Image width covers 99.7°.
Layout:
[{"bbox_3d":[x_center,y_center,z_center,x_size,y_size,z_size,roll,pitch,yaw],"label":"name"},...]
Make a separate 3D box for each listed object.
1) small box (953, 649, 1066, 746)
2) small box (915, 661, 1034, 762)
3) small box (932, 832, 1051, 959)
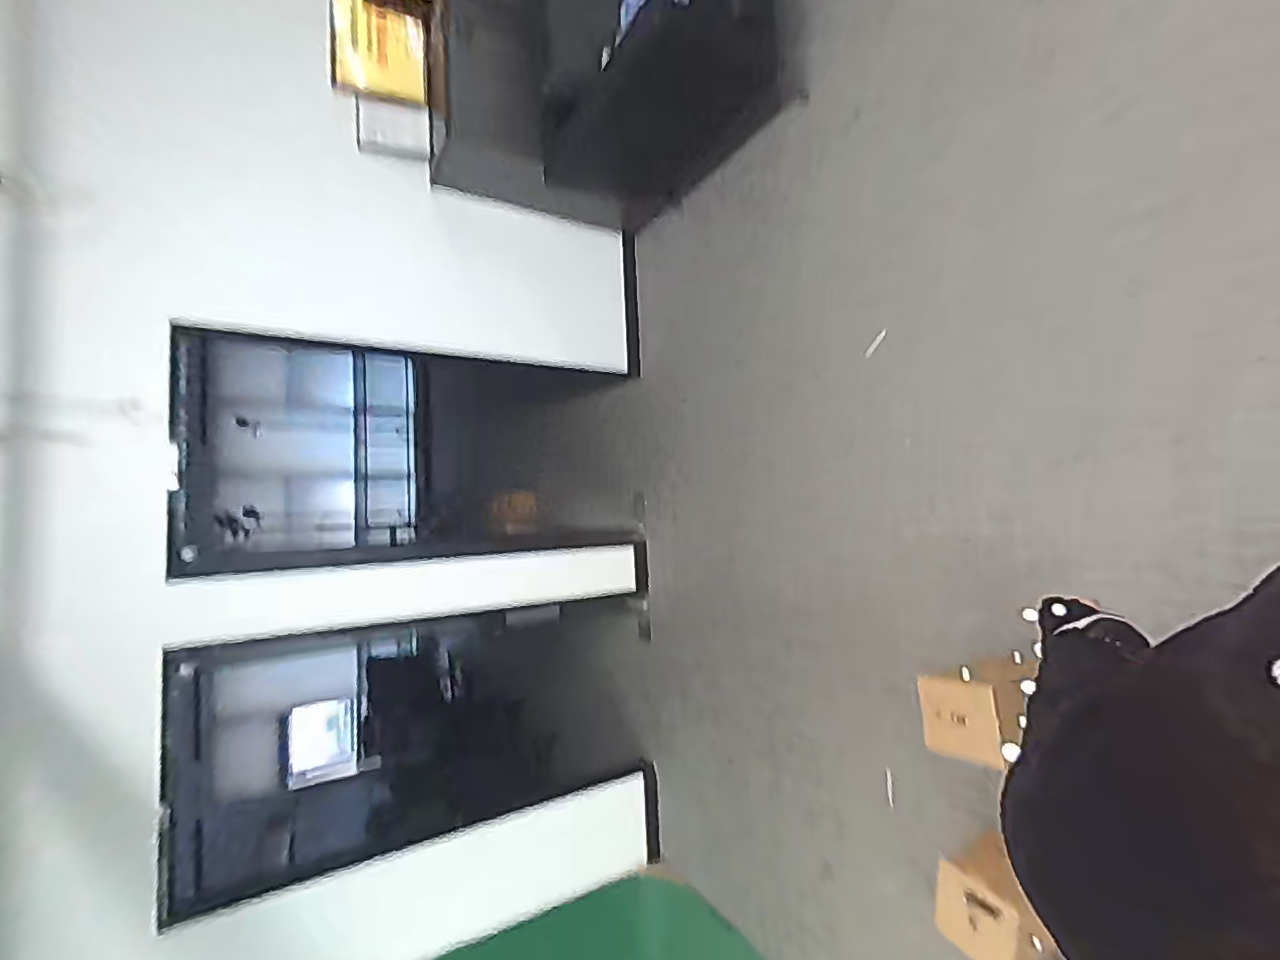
[{"bbox_3d":[0.916,0.529,1.338,0.168,0.176,0.179,-18,74,58],"label":"small box"},{"bbox_3d":[0.776,0.524,1.250,0.179,0.176,0.168,-17,74,58],"label":"small box"},{"bbox_3d":[0.792,0.942,1.219,0.168,0.176,0.179,8,98,60],"label":"small box"}]
